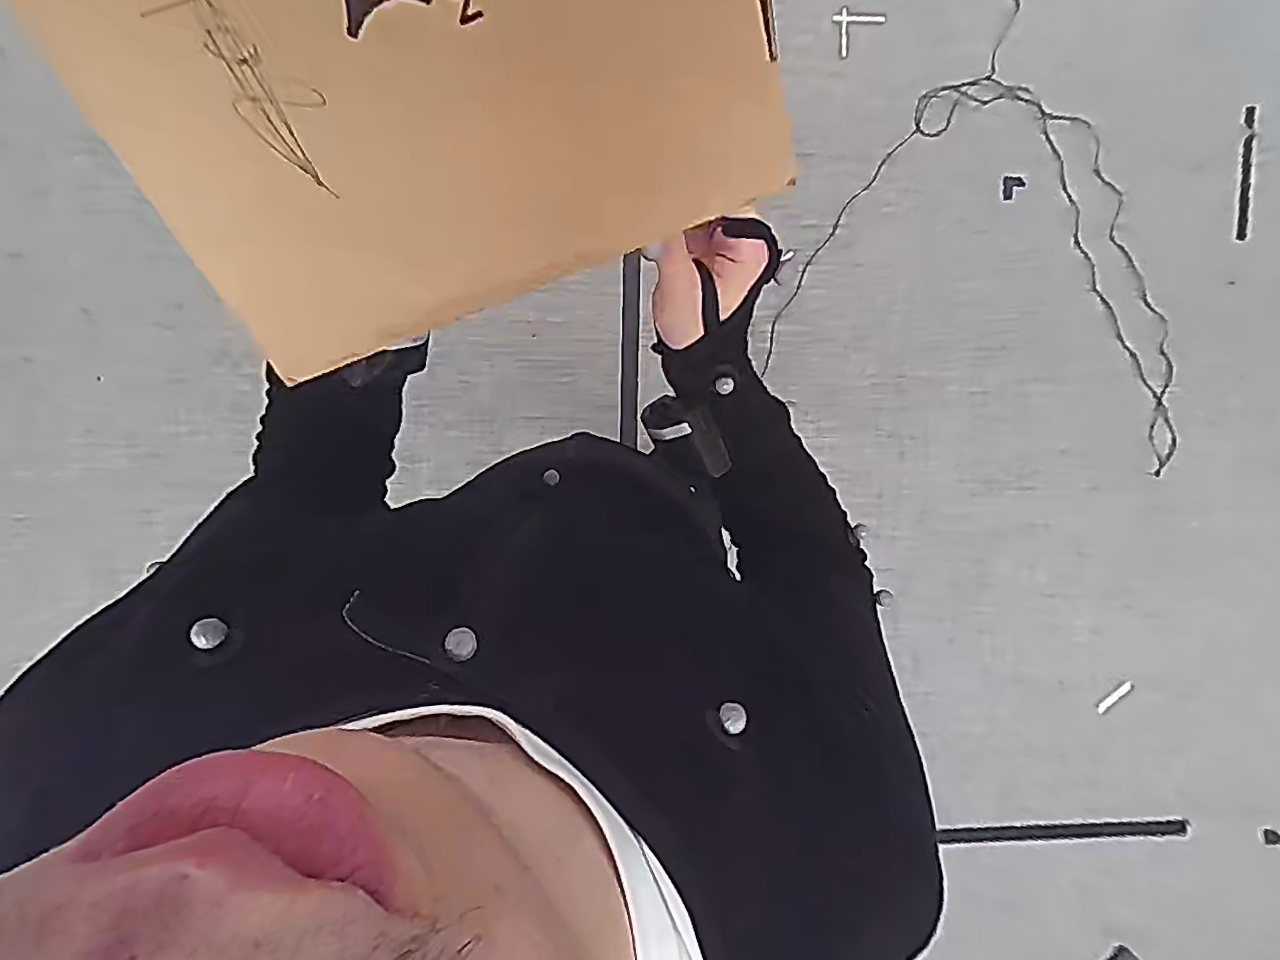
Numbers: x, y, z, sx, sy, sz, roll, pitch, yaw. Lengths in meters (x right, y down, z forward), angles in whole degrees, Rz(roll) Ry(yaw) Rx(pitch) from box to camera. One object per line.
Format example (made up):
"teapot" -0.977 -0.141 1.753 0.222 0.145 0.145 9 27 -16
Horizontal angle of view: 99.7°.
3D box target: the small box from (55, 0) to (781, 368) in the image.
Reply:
"small box" -0.067 -0.171 0.212 0.179 0.176 0.168 -19 118 8
